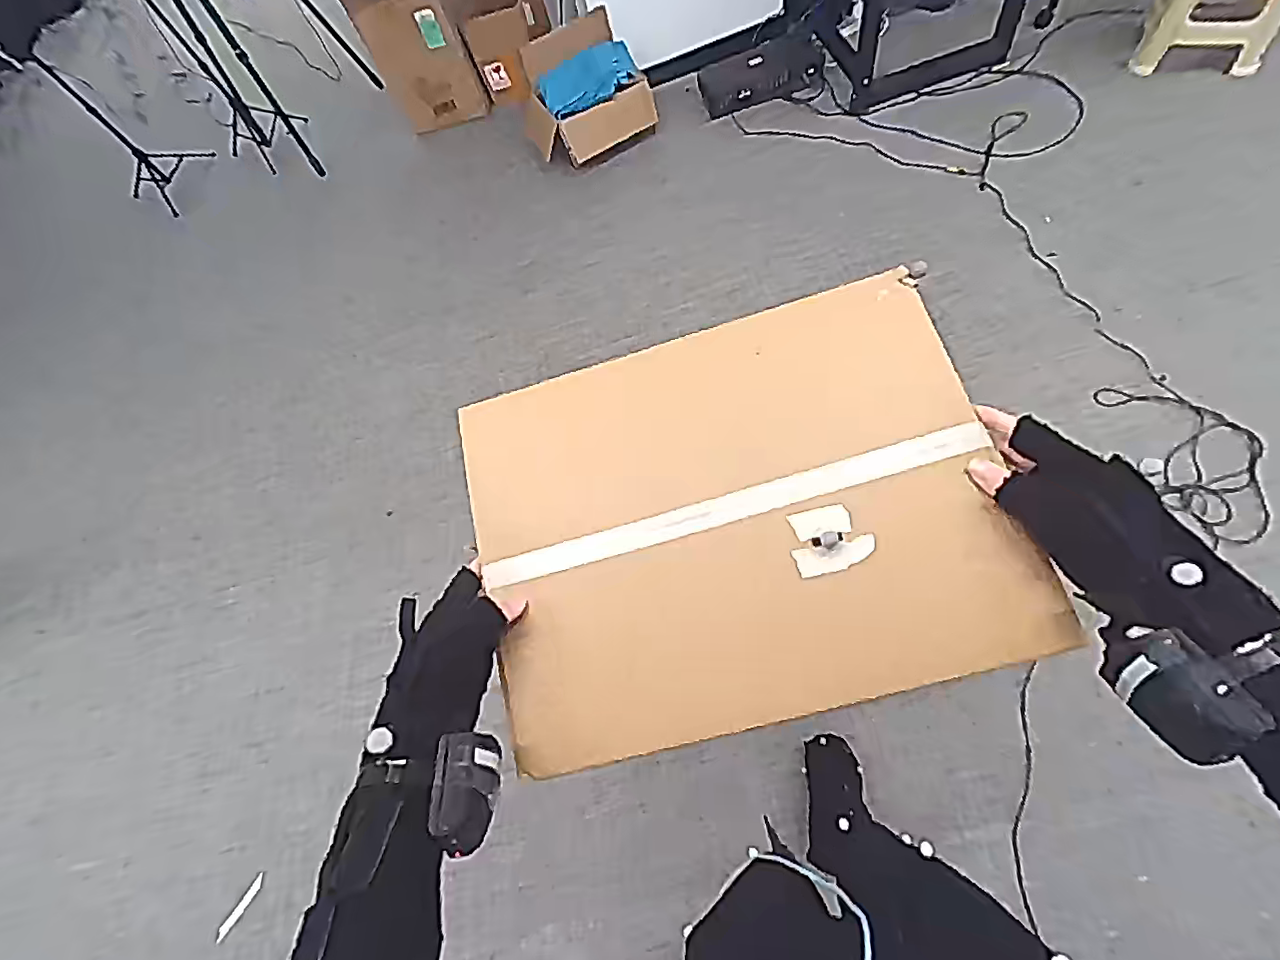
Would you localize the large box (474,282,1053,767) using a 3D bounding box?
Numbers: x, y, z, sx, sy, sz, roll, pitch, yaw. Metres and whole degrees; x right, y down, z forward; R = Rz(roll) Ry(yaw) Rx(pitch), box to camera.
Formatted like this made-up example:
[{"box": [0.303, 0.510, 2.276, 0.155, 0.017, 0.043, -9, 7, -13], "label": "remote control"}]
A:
[{"box": [0.093, 0.064, 0.585, 0.408, 0.320, 0.320, -17, 73, 5], "label": "large box"}]
